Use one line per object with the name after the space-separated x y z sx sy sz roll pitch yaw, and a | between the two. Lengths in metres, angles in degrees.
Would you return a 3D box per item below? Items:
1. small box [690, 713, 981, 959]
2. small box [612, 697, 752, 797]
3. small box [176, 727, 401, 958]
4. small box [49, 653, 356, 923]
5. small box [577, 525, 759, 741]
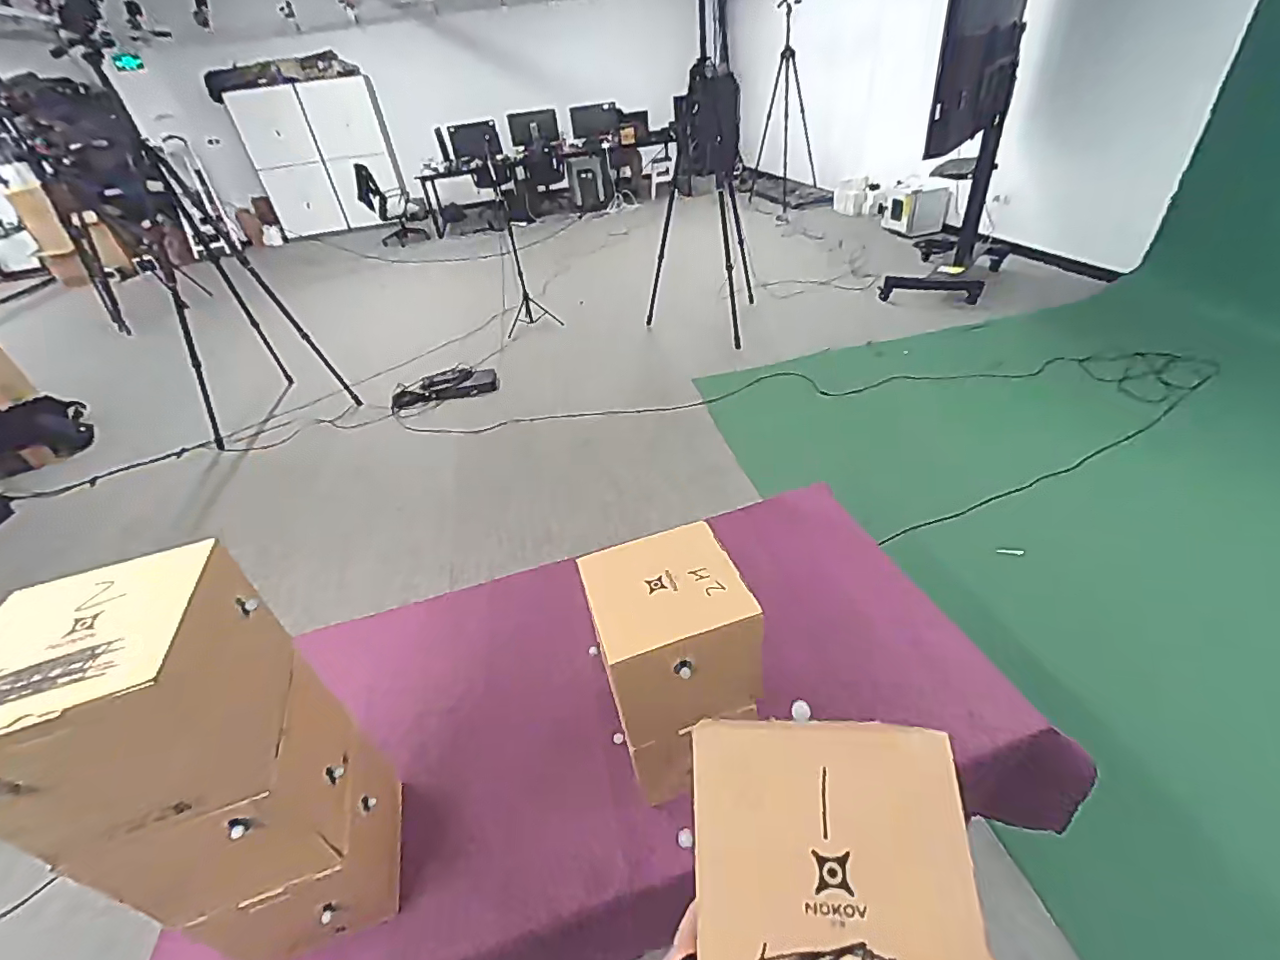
0.124 0.272 0.401 0.168 0.176 0.179 -2 67 7 | small box
0.050 0.320 0.771 0.168 0.176 0.179 -15 38 -9 | small box
-0.412 0.454 0.675 0.168 0.176 0.179 -15 37 -11 | small box
-0.433 0.325 0.578 0.179 0.176 0.168 -16 38 -13 | small box
0.035 0.189 0.670 0.179 0.176 0.168 -15 38 -10 | small box
